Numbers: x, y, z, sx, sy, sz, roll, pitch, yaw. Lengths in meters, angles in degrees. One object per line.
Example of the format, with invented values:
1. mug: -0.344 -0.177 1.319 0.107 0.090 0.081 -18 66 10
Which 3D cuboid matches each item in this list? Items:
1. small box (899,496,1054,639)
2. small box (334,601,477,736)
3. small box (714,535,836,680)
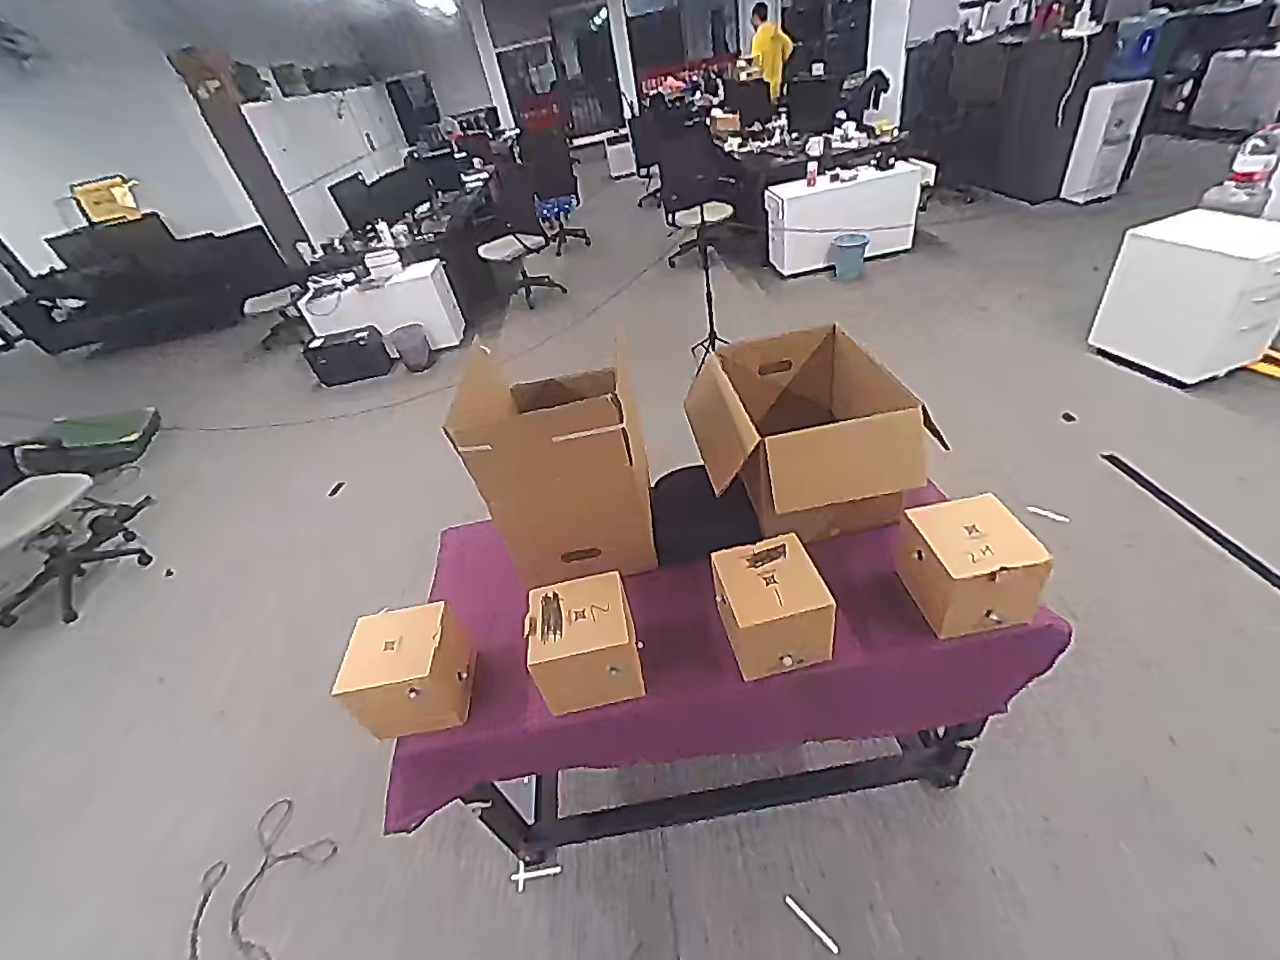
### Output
1. small box: 0.593 0.159 0.985 0.168 0.176 0.179 -12 38 3
2. small box: -0.431 0.360 1.026 0.179 0.176 0.168 -11 38 1
3. small box: 0.241 0.233 0.994 0.168 0.176 0.179 -14 39 -1
